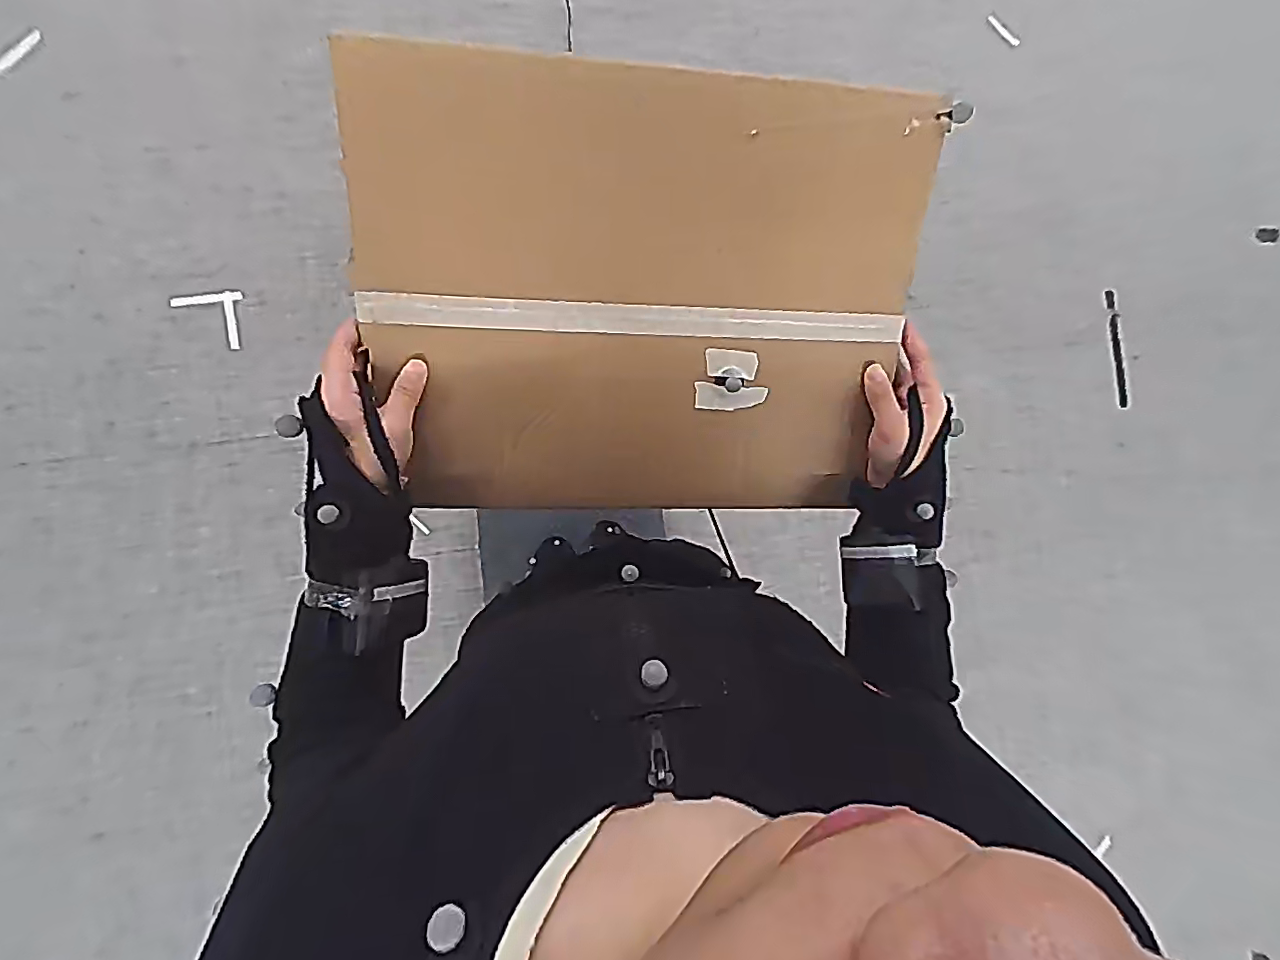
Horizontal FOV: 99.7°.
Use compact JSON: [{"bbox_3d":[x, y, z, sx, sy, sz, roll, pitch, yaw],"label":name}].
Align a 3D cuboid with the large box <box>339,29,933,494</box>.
[{"bbox_3d":[-0.015,-0.188,0.545,0.408,0.320,0.320,0,113,-8],"label":"large box"}]
